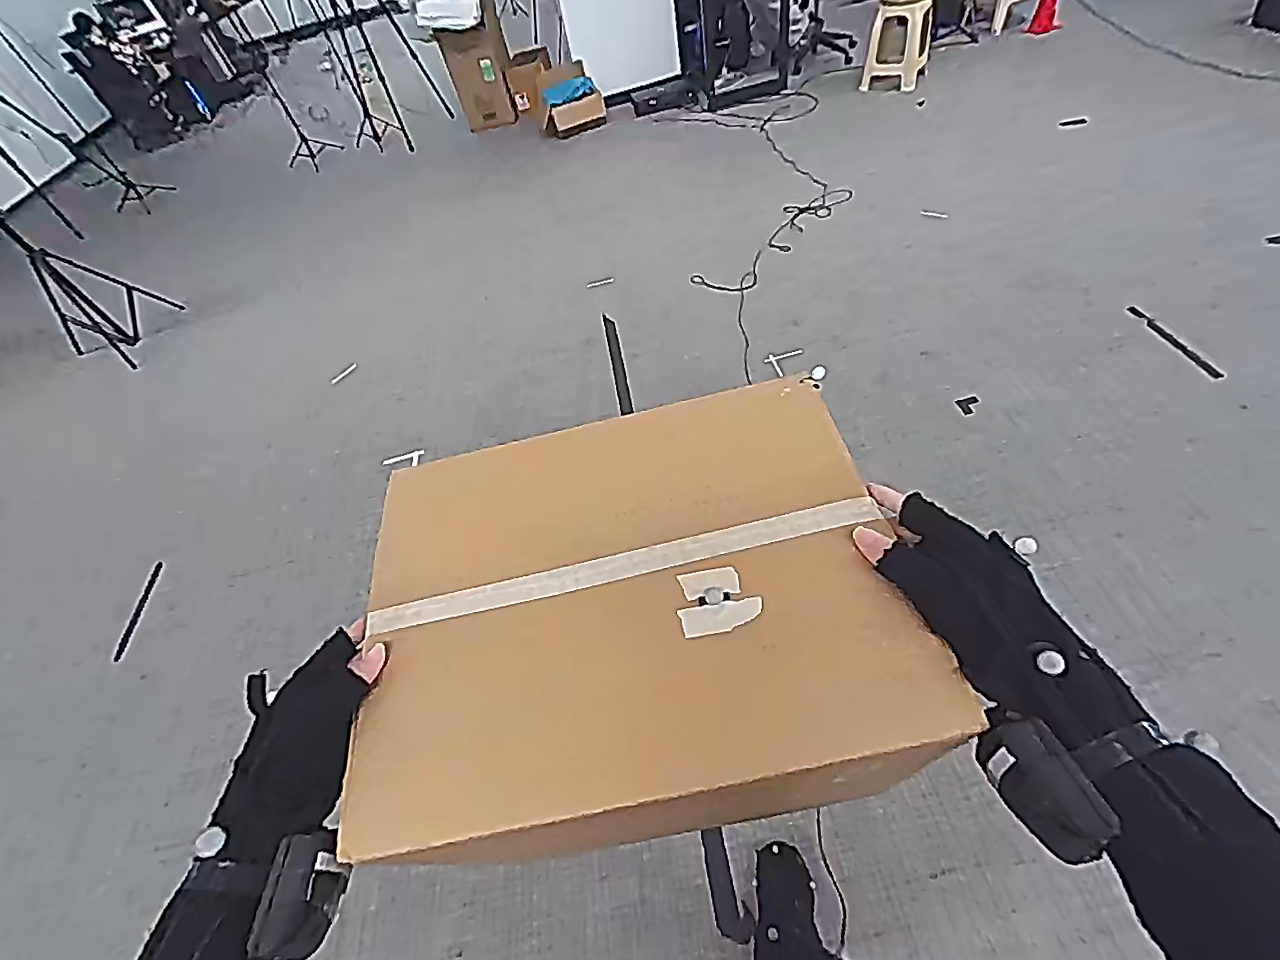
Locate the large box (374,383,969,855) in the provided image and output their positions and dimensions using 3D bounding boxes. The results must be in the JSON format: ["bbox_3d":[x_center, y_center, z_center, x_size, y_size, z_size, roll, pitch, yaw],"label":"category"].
[{"bbox_3d":[0.016,0.156,0.553,0.408,0.320,0.320,-13,54,2],"label":"large box"}]
